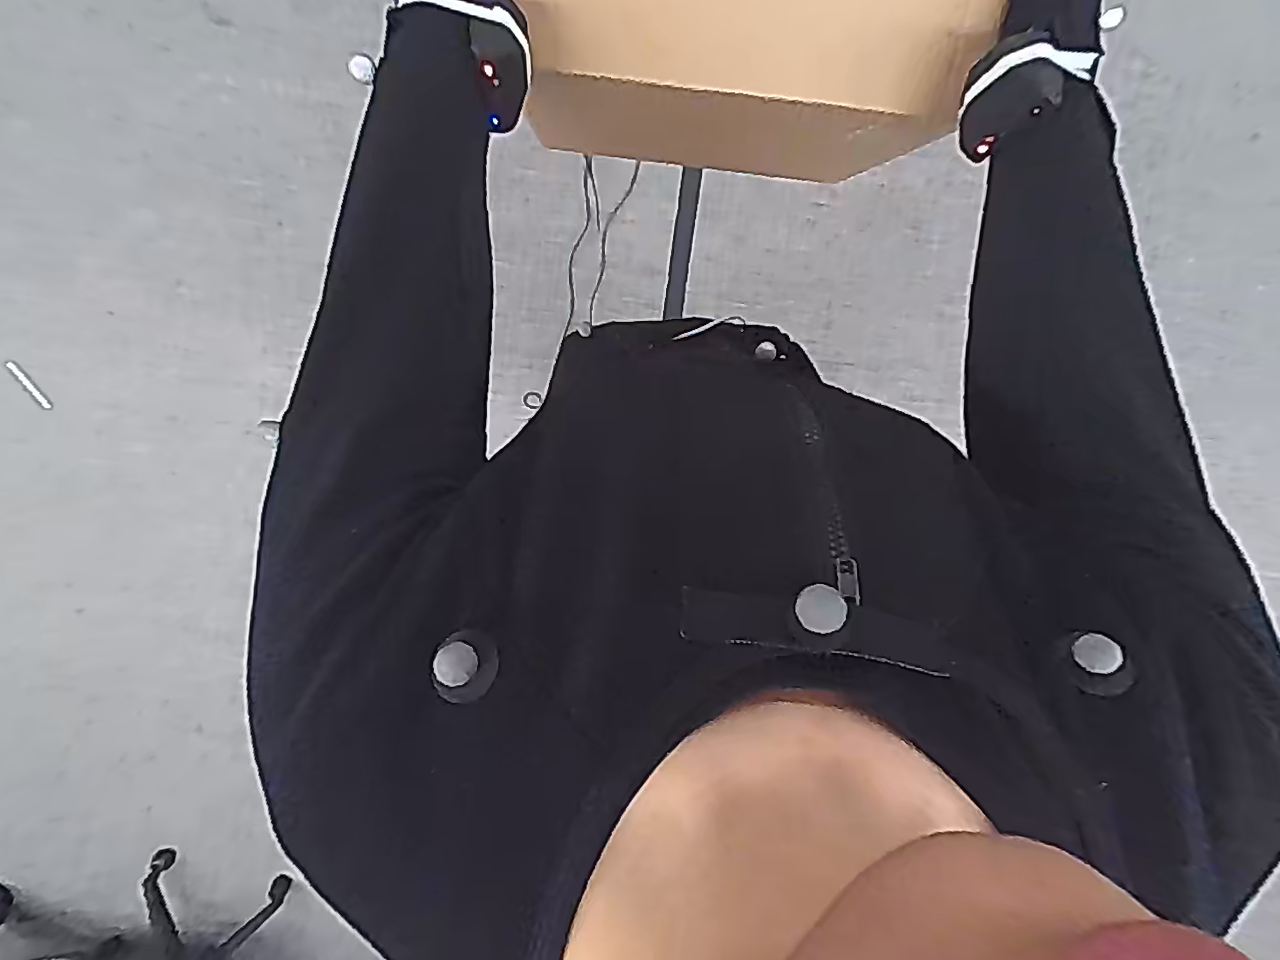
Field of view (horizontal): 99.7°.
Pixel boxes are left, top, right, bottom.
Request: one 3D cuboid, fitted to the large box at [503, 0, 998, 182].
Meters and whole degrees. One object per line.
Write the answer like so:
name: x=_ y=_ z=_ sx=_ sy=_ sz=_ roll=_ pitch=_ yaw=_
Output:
large box: x=0.089 y=-0.512 z=0.540 sx=0.408 sy=0.320 sz=0.320 roll=4 pitch=110 yaw=-4
